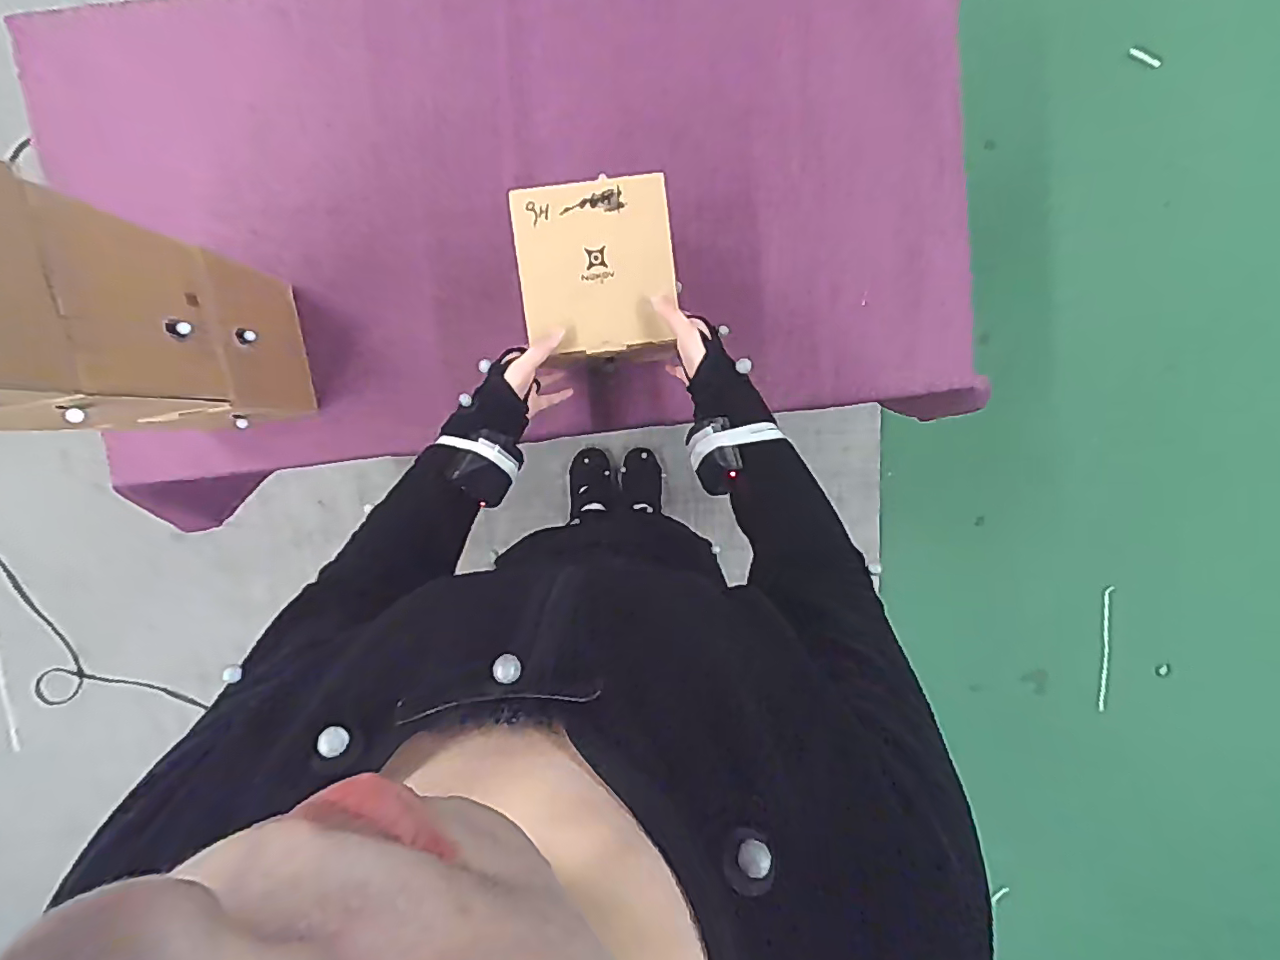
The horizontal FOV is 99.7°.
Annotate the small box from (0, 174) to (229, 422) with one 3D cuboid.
[{"bbox_3d":[-0.533,-0.145,0.491,0.179,0.176,0.168,-10,97,-2],"label":"small box"}]

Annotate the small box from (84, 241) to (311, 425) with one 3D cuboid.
[{"bbox_3d":[-0.533,-0.165,0.653,0.168,0.176,0.179,-8,96,-1],"label":"small box"}]

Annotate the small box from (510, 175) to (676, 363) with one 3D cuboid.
[{"bbox_3d":[-0.048,-0.237,0.653,0.168,0.176,0.179,-6,98,-1],"label":"small box"}]
